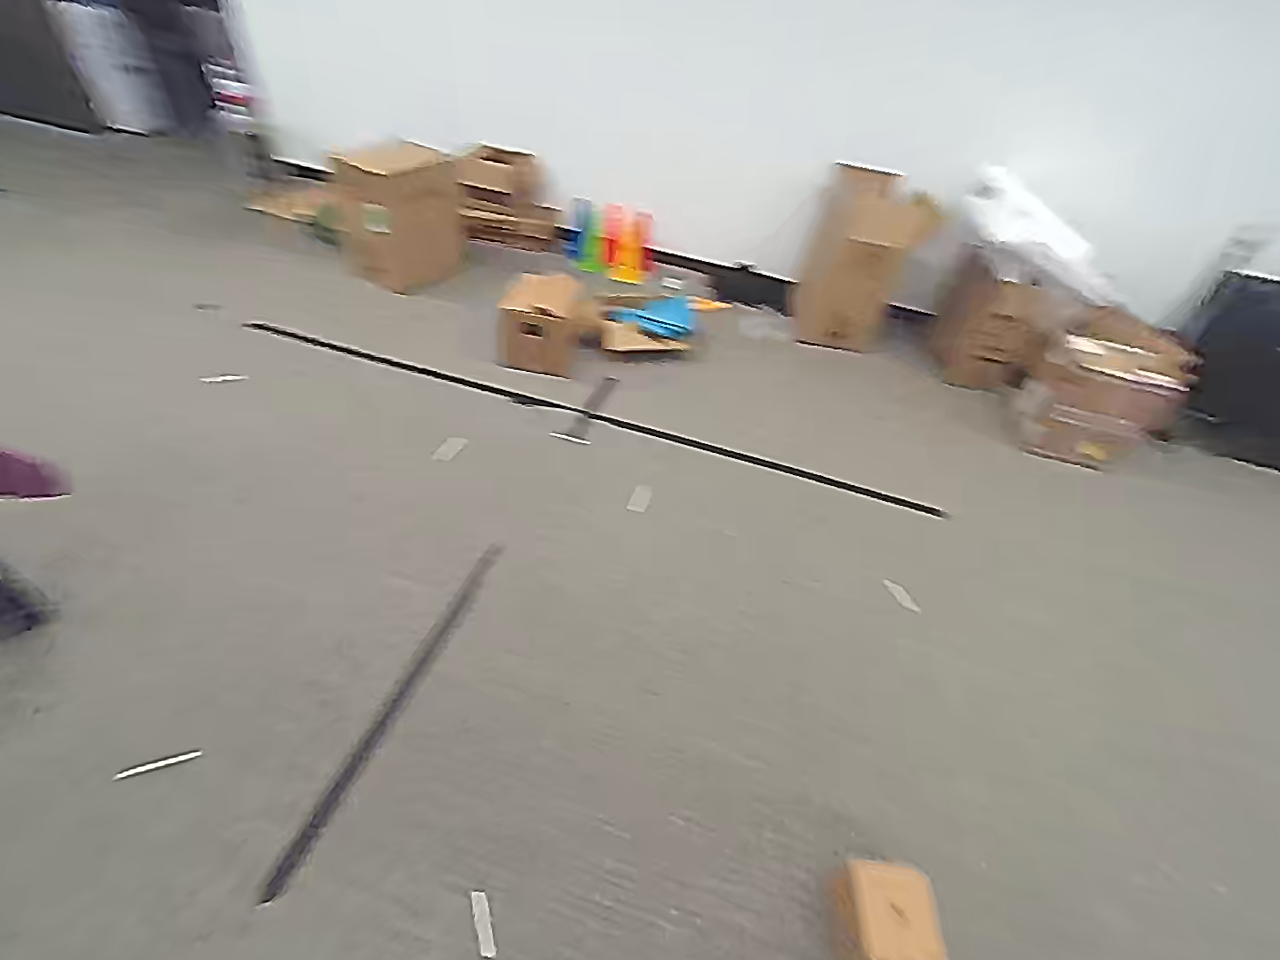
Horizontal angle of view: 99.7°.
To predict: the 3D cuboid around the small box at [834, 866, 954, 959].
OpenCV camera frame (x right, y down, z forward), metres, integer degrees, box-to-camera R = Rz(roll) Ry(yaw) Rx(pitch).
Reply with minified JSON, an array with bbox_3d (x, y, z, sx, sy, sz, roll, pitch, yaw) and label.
[{"bbox_3d":[0.536,0.963,1.160,0.168,0.176,0.179,9,42,-2],"label":"small box"}]
